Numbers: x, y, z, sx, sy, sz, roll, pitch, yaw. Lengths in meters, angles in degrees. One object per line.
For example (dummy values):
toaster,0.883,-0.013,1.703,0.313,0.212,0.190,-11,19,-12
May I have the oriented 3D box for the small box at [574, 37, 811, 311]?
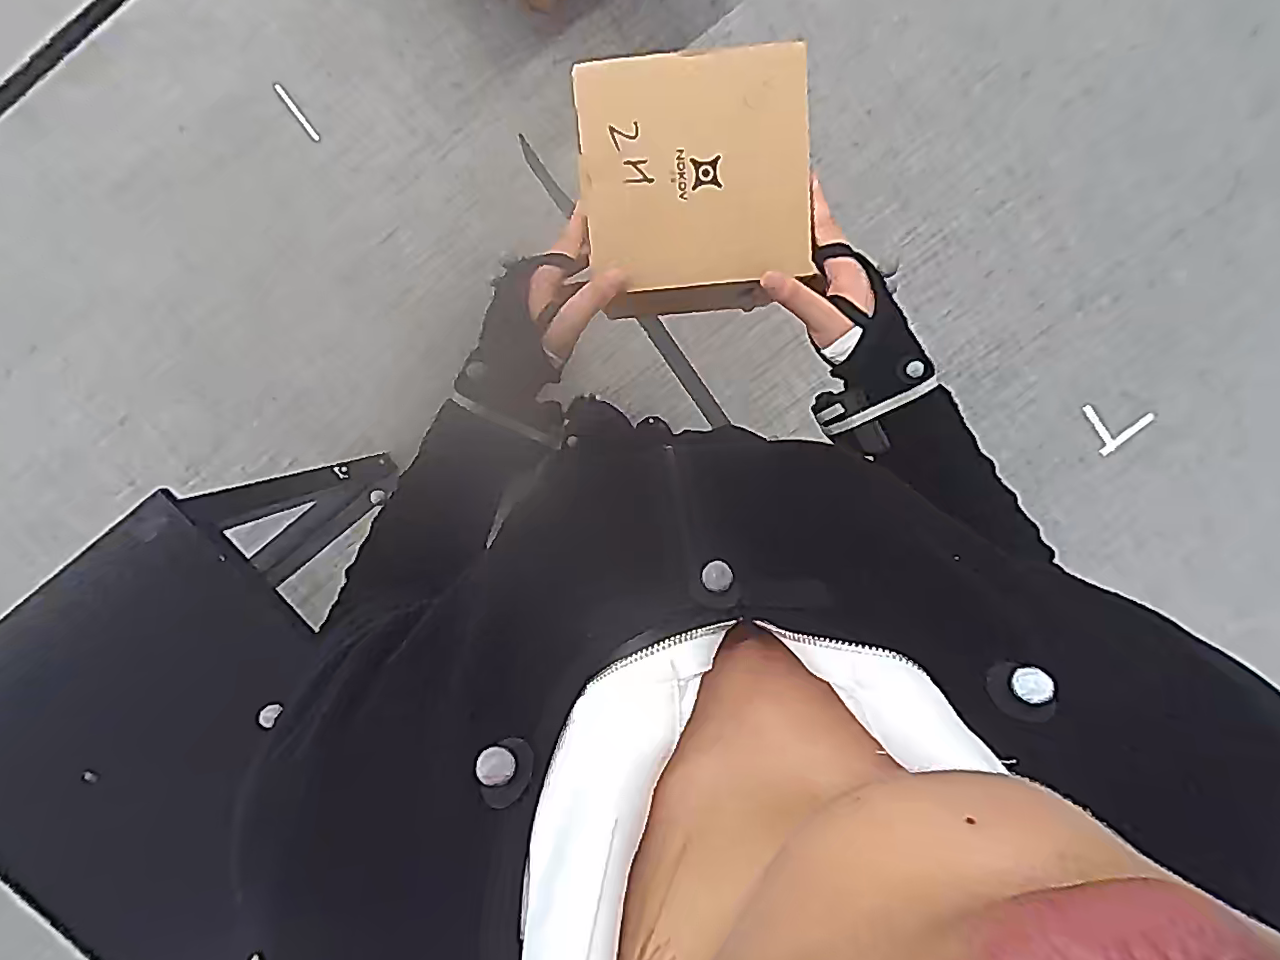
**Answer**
small box,0.043,-0.253,0.490,0.179,0.176,0.168,-4,100,2
